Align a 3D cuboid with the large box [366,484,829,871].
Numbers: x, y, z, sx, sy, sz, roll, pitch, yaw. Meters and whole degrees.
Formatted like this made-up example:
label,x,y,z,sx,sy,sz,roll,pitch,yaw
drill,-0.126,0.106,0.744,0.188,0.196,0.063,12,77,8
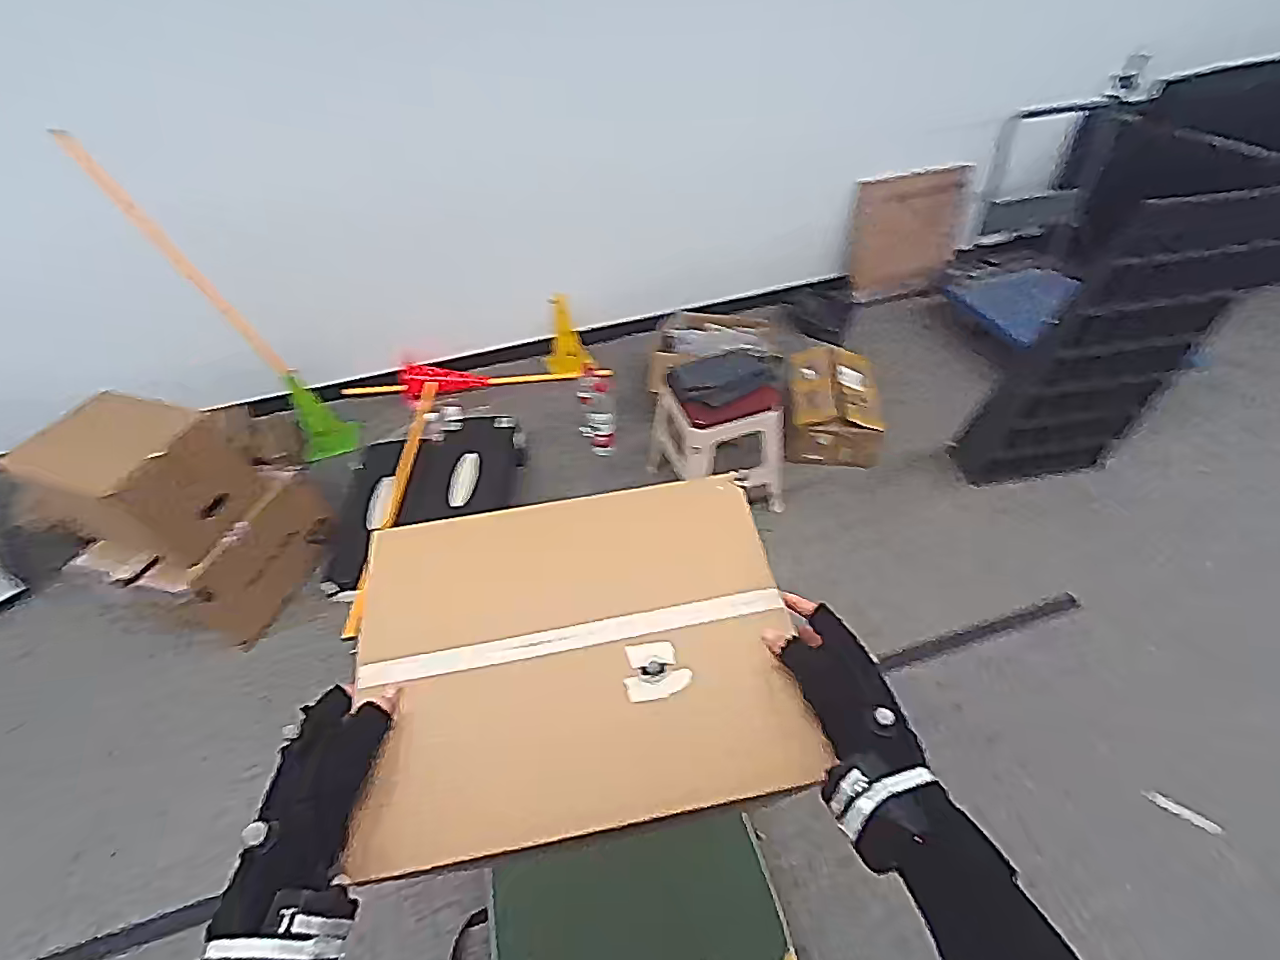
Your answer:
label,x,y,z,sx,sy,sz,roll,pitch,yaw
large box,-0.055,0.243,0.656,0.408,0.320,0.320,-9,56,-6
